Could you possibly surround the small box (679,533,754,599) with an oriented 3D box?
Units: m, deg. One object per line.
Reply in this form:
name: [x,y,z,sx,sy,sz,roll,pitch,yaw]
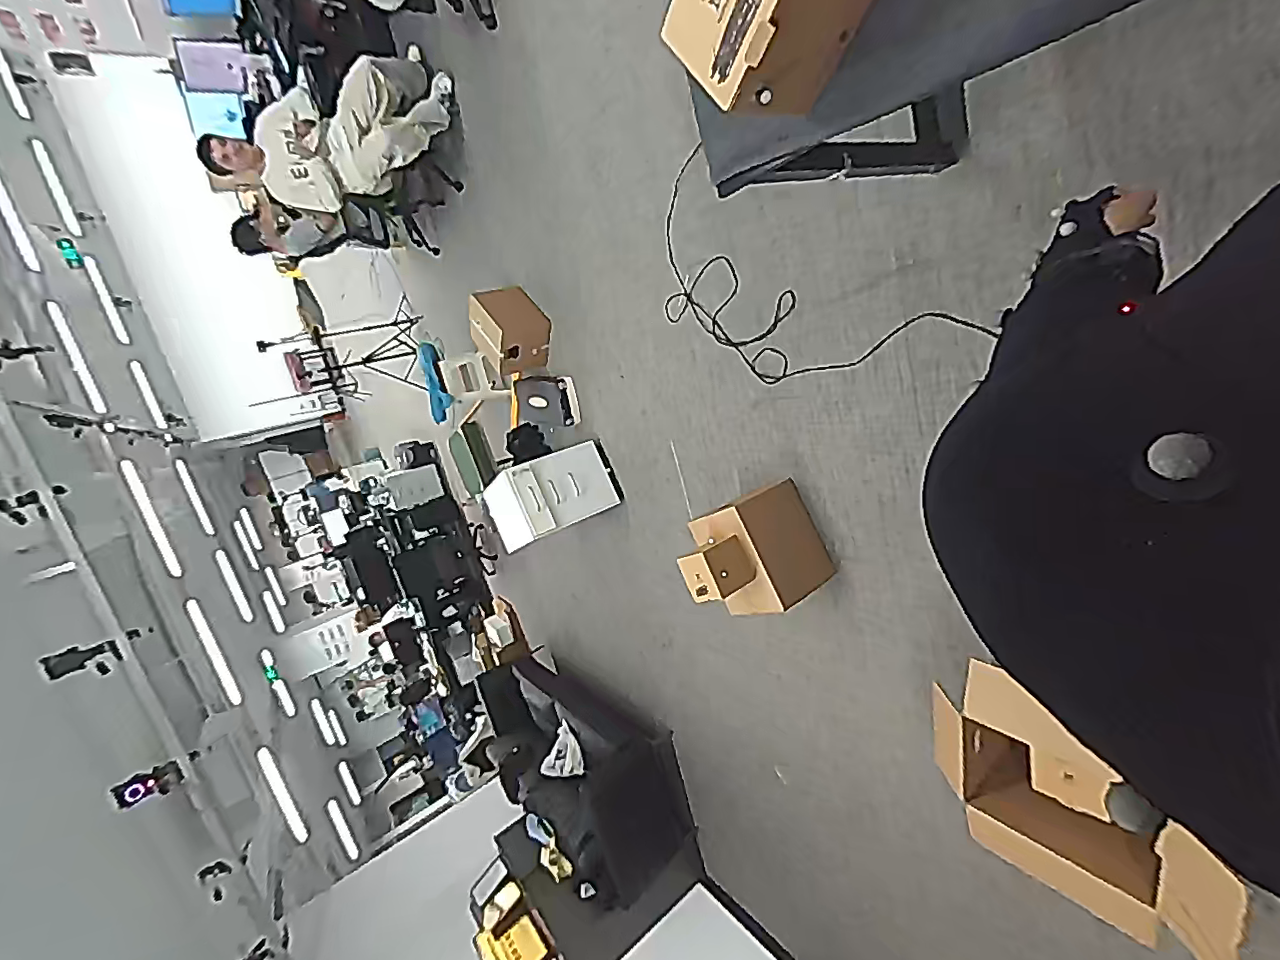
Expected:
small box: [0.277,0.308,1.937,0.168,0.176,0.179,-28,85,57]
